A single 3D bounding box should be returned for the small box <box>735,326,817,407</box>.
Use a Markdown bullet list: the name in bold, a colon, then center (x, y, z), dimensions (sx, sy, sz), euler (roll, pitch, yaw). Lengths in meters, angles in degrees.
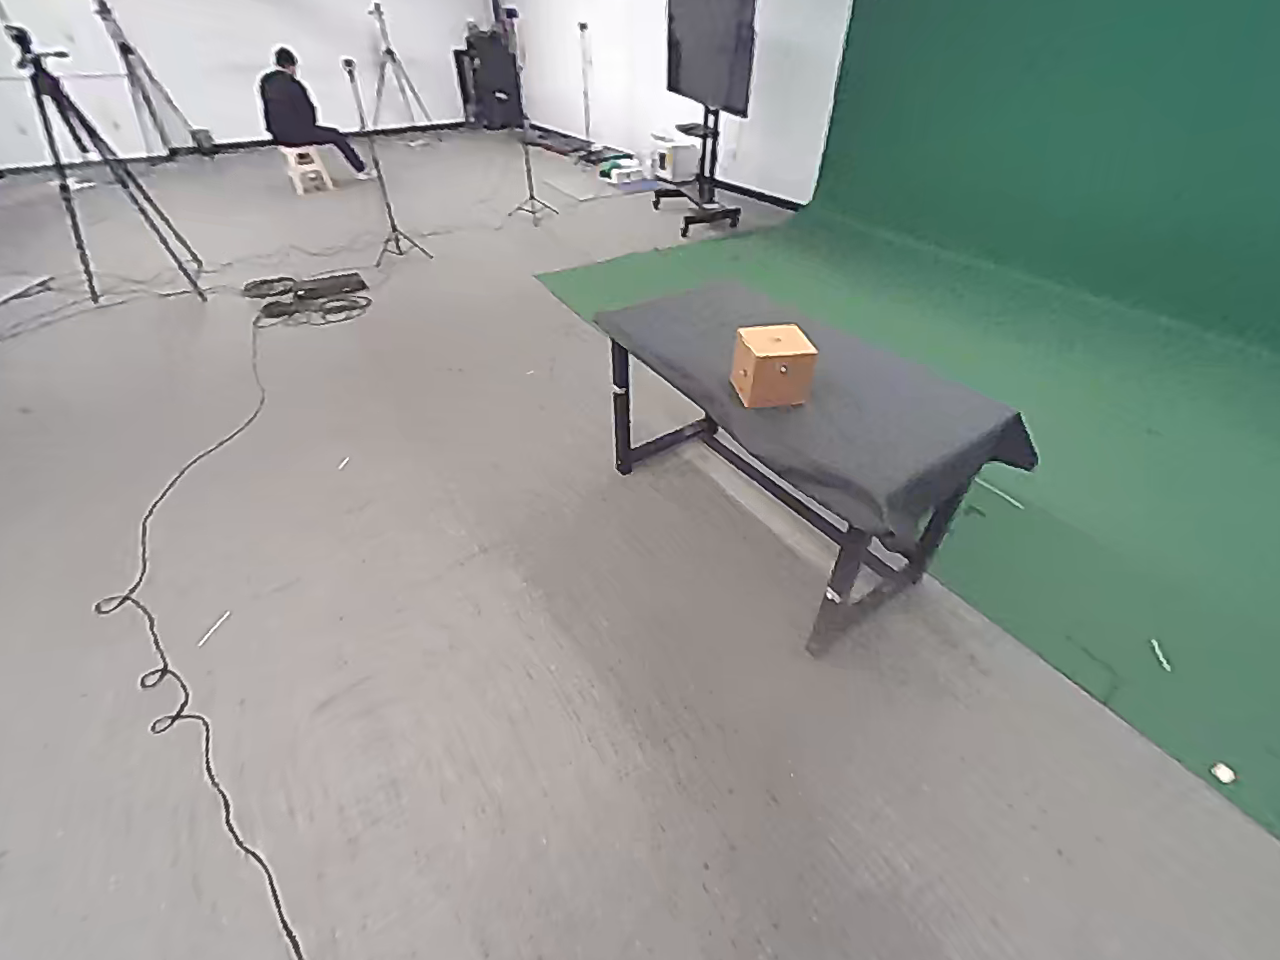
- **small box**: center (0.374, -0.319, 1.533), dimensions (0.179, 0.176, 0.168), euler (-5, 42, -7)
